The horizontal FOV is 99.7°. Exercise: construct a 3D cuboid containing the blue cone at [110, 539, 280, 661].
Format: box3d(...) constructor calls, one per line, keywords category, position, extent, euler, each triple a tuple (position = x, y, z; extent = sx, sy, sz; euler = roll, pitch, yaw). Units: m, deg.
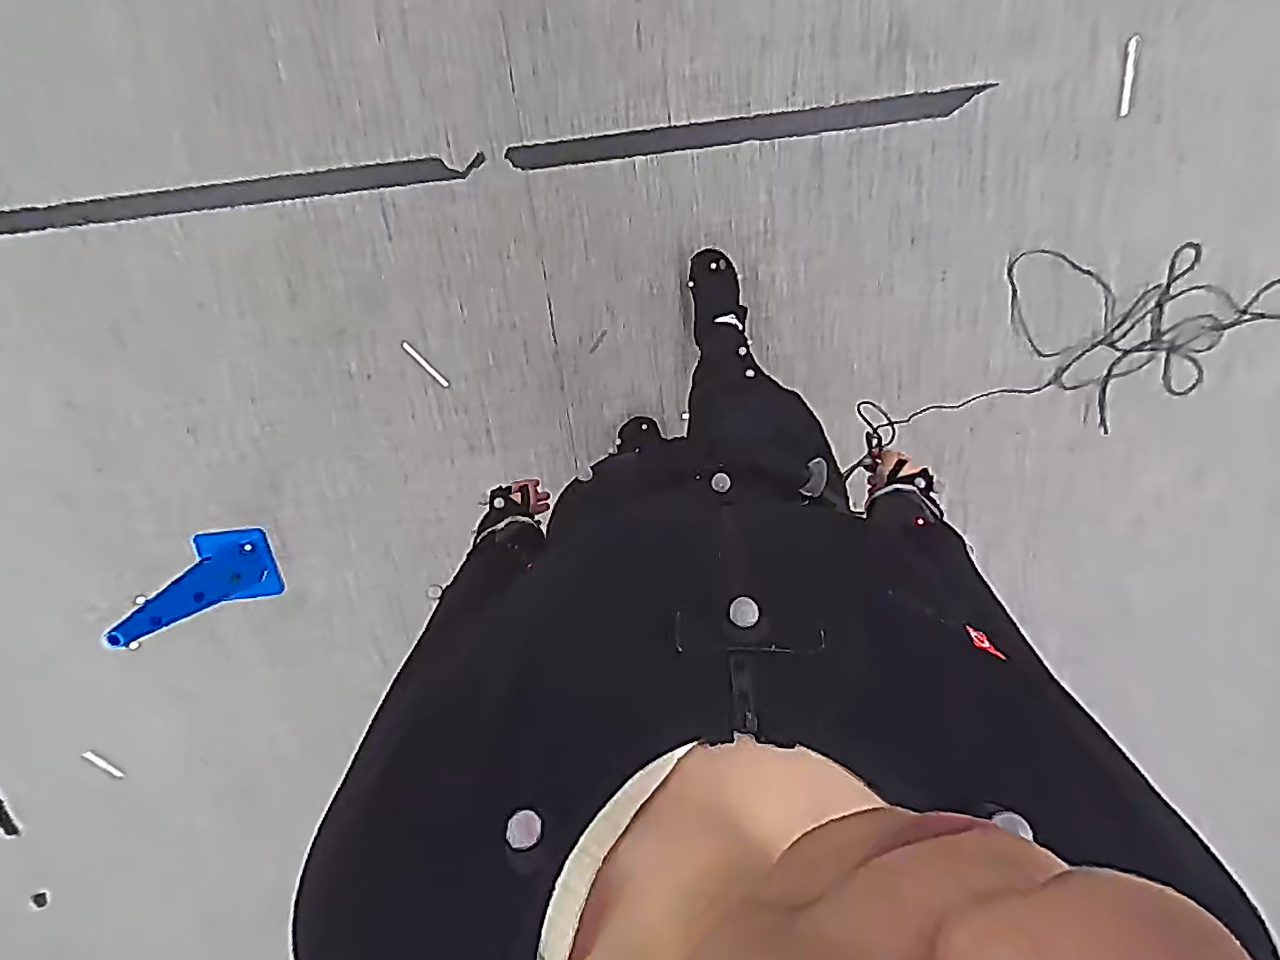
box3d(category="blue cone", position=(-1.086, 0.297, 1.298), extent=(0.193, 0.380, 0.192), euler=(-6, 107, 3))
